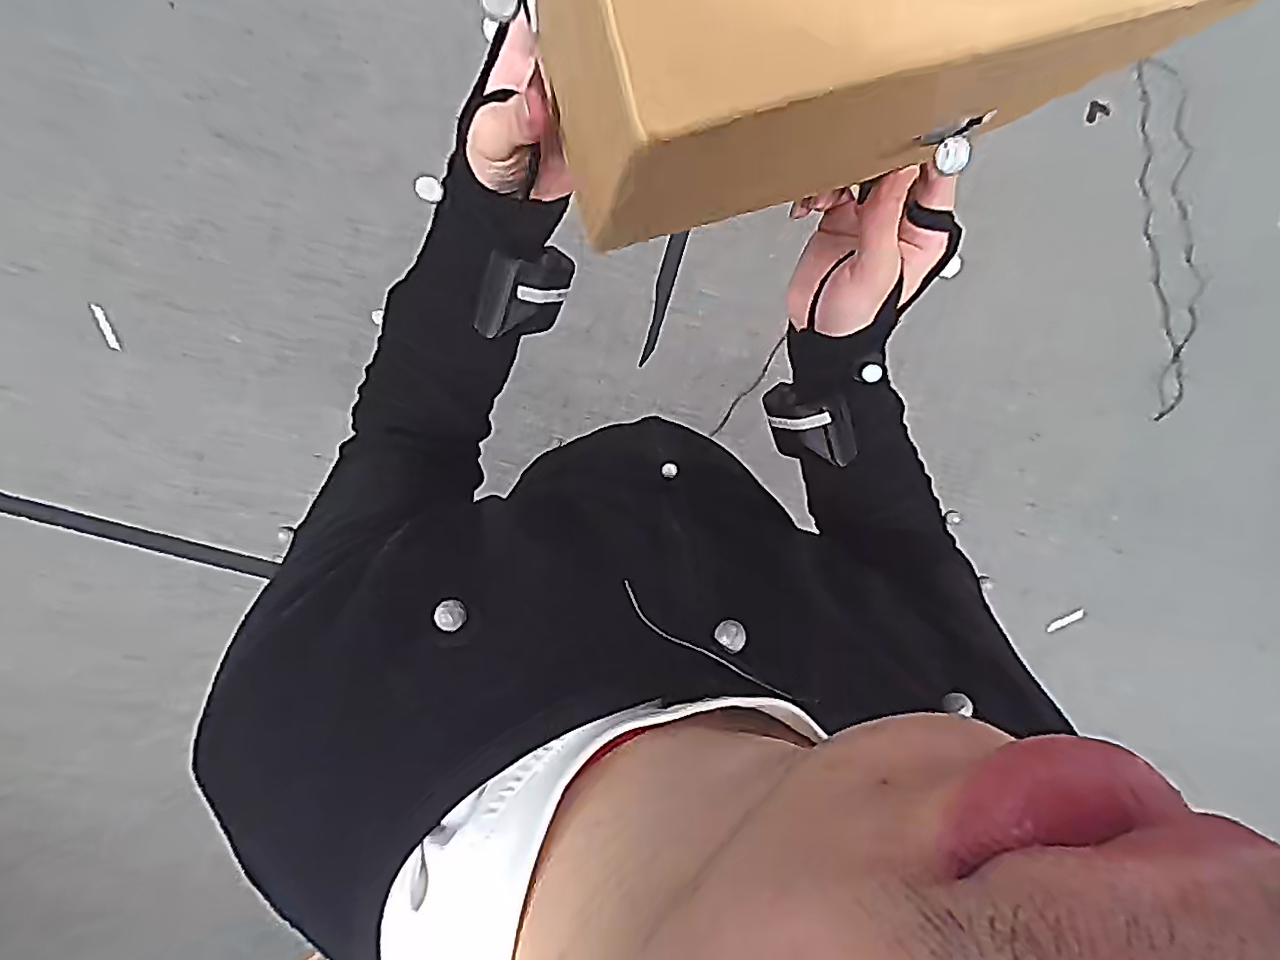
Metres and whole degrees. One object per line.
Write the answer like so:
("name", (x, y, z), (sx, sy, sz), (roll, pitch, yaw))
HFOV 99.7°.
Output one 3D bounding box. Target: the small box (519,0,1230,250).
("small box", (0.048, -0.197, 0.190), (0.179, 0.176, 0.168), (-18, 106, -3))
